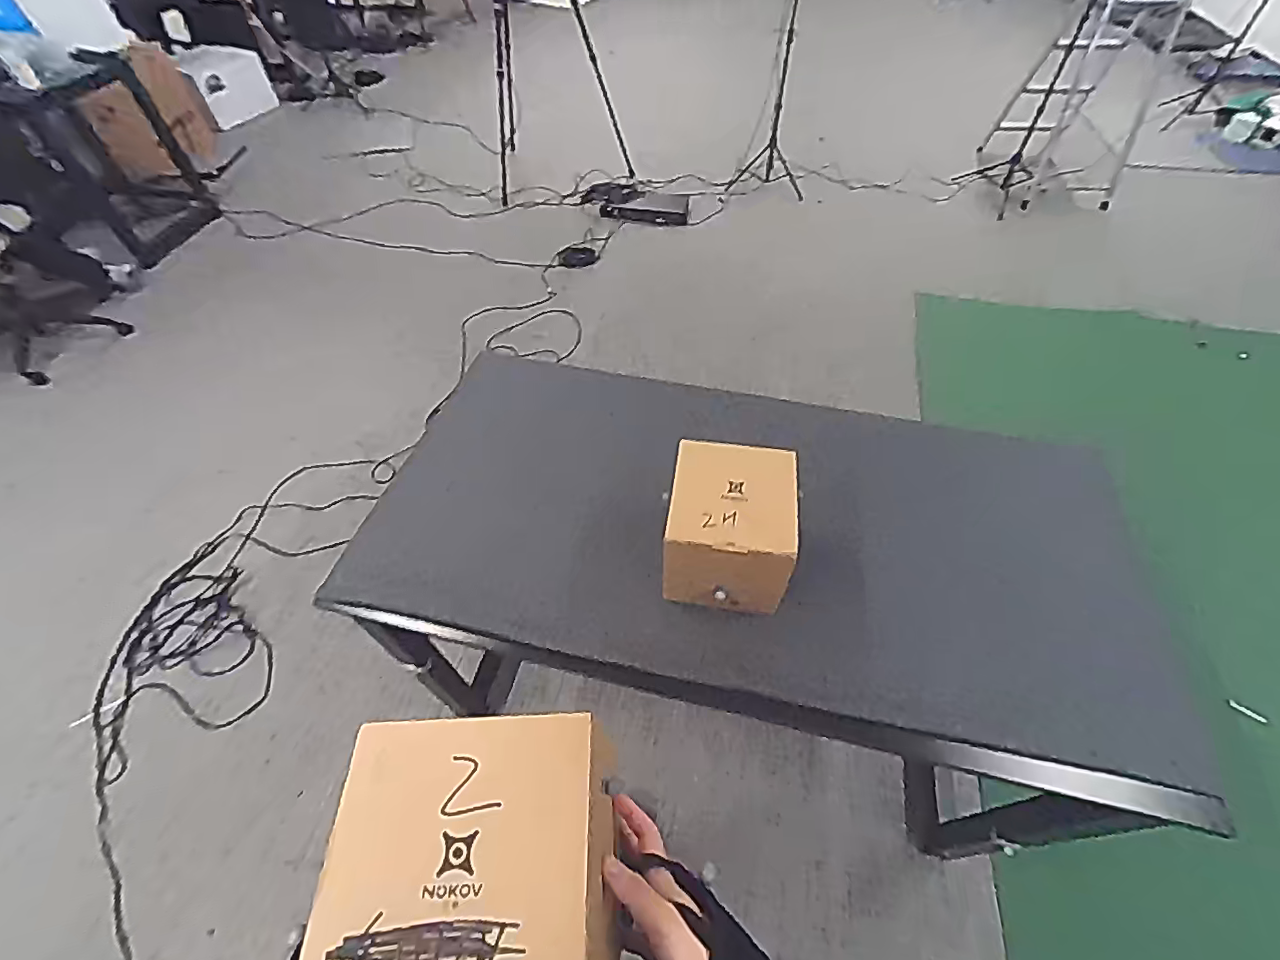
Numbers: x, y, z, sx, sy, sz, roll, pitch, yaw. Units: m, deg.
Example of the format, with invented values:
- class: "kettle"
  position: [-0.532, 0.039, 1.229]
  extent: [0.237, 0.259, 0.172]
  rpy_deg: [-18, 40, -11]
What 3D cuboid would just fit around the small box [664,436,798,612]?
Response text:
- class: "small box"
  position: [0.126, 0.064, 0.776]
  extent: [0.168, 0.176, 0.179]
  rpy_deg: [7, 51, 7]
